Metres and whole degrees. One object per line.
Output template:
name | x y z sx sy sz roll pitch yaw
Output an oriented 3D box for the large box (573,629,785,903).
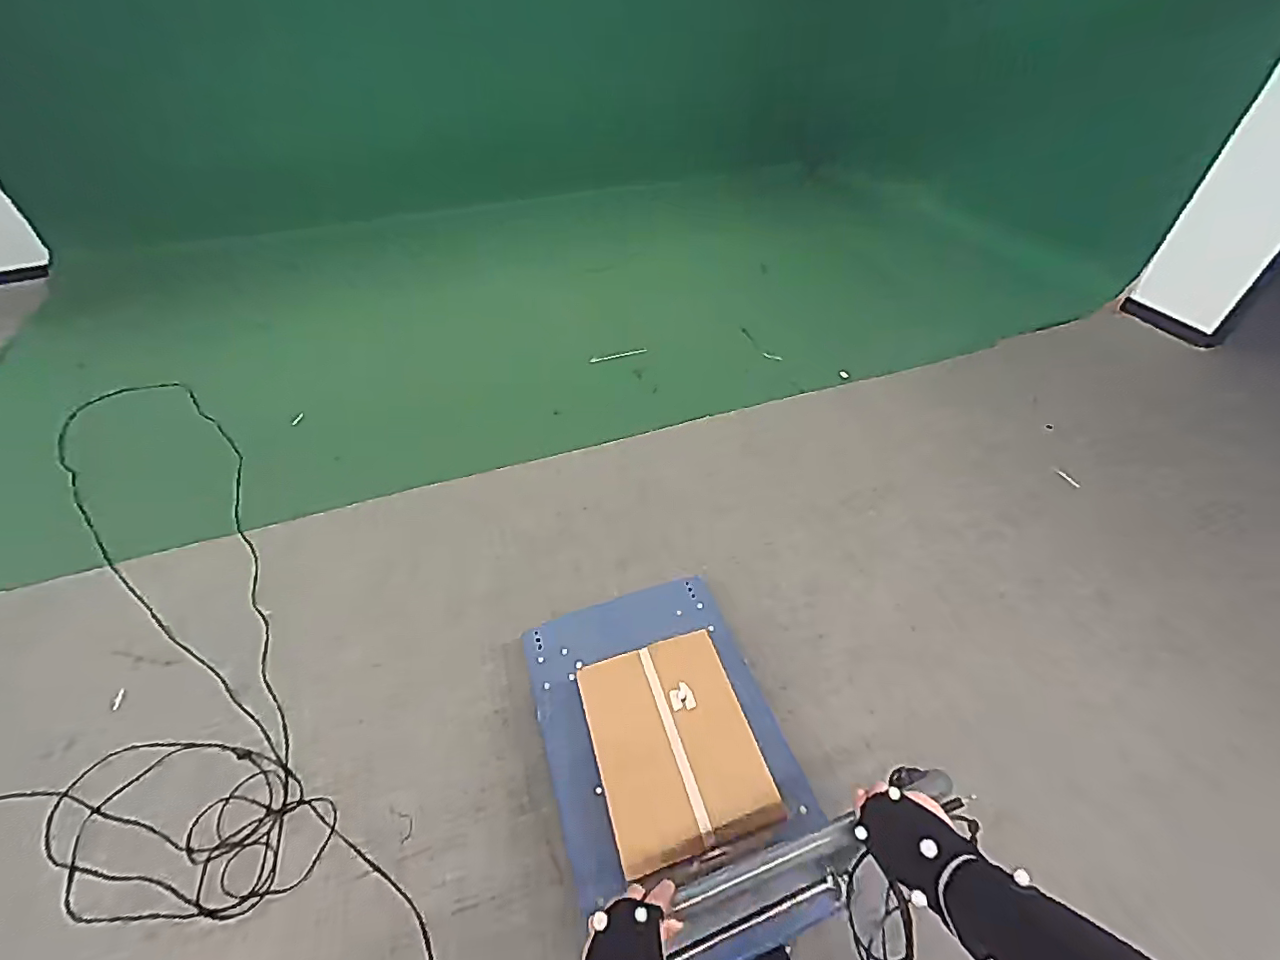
large box | 0.066 0.614 1.185 0.320 0.320 0.408 -14 46 -12
